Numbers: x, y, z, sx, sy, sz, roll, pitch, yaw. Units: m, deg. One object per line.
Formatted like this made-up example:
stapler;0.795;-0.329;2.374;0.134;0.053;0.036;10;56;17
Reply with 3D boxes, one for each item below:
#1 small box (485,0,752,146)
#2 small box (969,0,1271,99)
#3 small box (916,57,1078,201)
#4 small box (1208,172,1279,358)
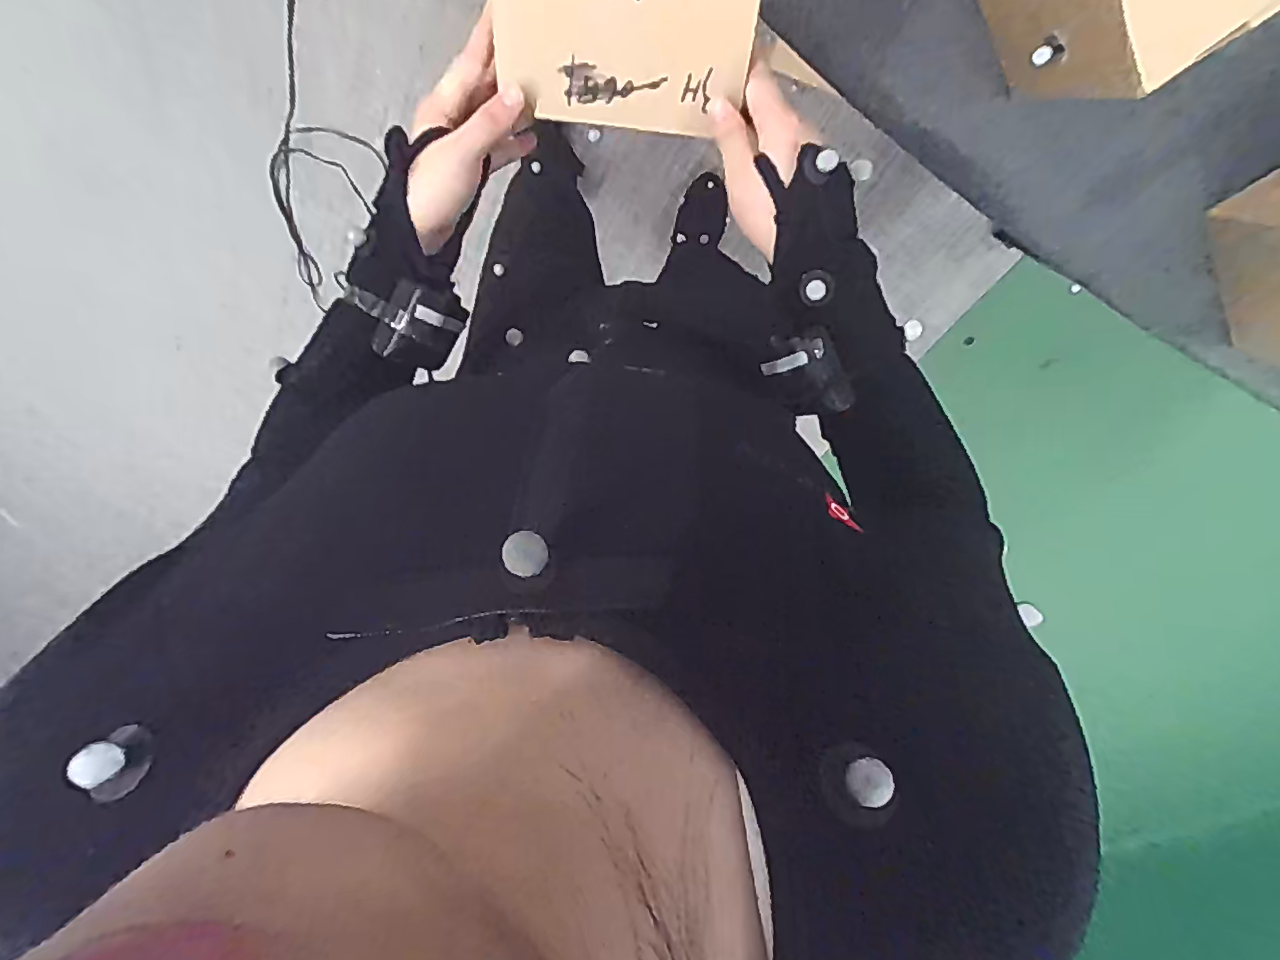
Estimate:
small box;-0.007;-0.358;0.379;0.168;0.176;0.179;7;132;1
small box;0.339;-0.398;0.361;0.168;0.176;0.179;-34;116;23
small box;0.665;-0.674;1.039;0.168;0.176;0.179;22;125;-12
small box;0.666;-0.204;0.475;0.168;0.176;0.179;-33;117;23
